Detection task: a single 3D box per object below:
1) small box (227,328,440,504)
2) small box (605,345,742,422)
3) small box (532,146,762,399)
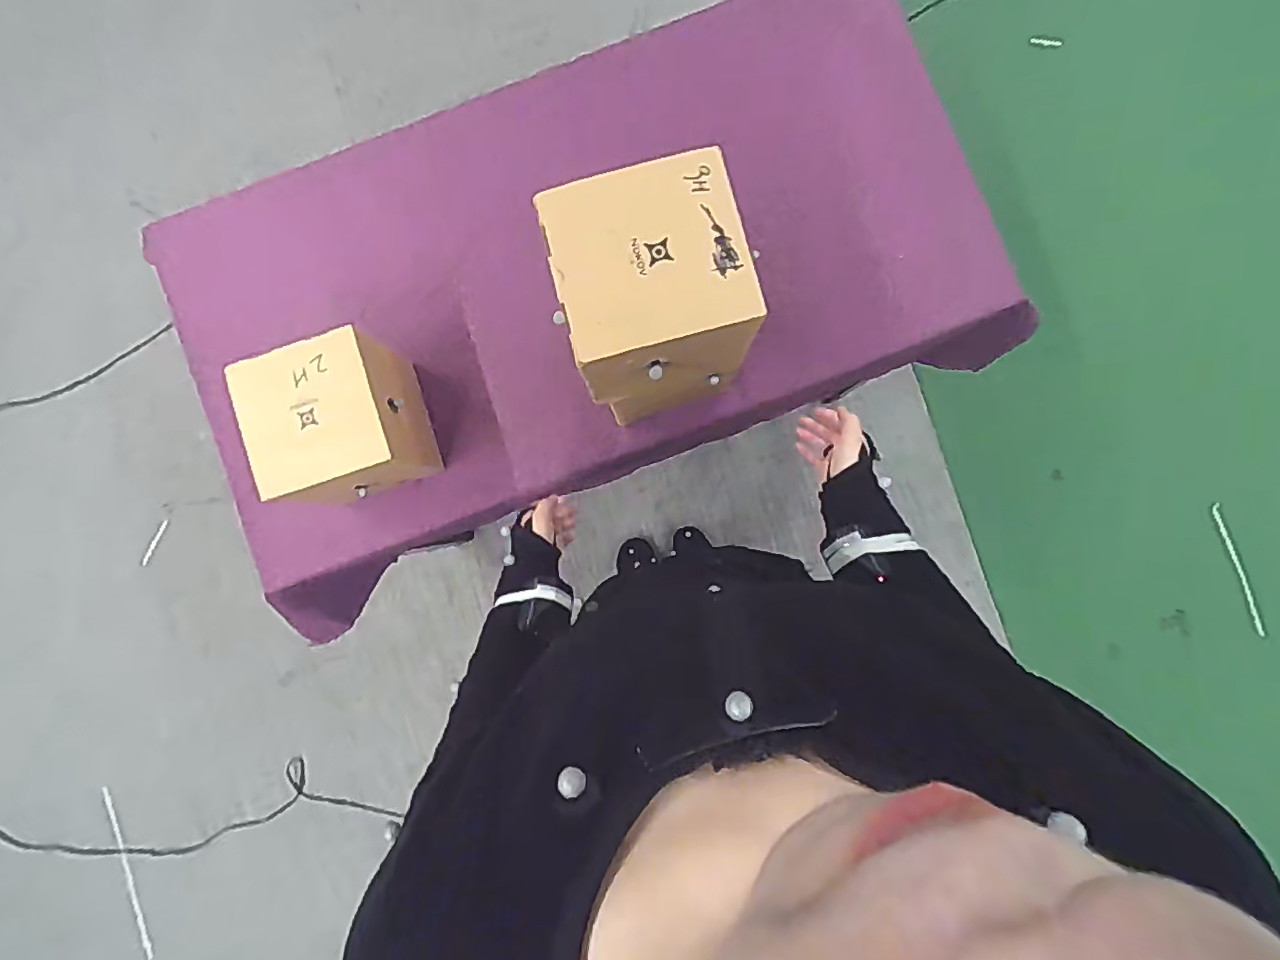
[{"bbox_3d":[-0.393,-0.074,0.726,0.168,0.176,0.179,-18,86,0],"label":"small box"},{"bbox_3d":[0.019,-0.190,0.723,0.179,0.176,0.168,-20,86,1],"label":"small box"},{"bbox_3d":[0.008,-0.194,0.558,0.179,0.176,0.168,-15,86,1],"label":"small box"}]
